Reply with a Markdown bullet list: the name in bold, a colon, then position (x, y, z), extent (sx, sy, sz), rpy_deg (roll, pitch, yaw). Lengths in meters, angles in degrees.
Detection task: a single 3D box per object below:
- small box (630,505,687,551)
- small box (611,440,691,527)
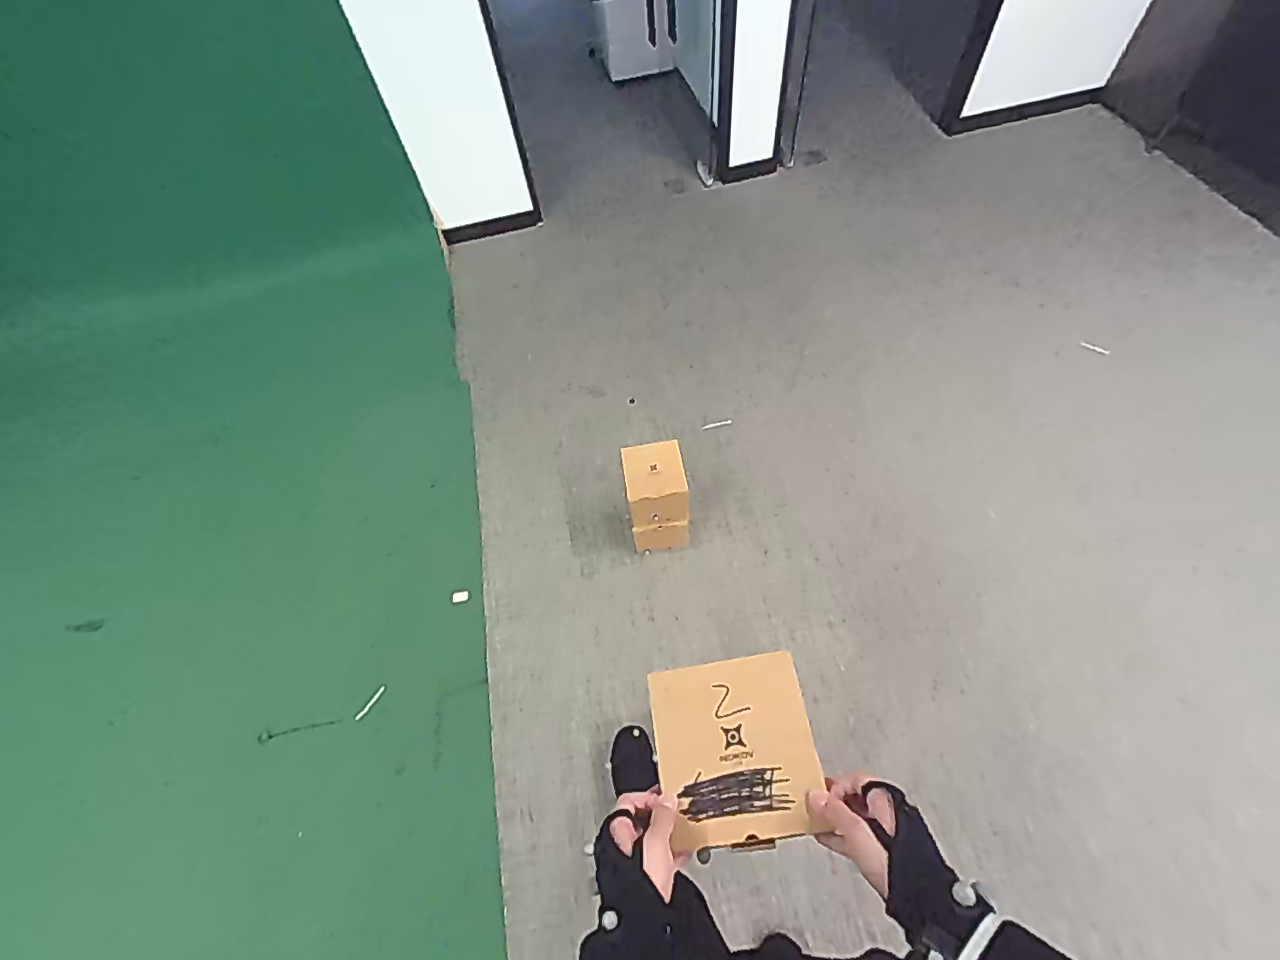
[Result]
- **small box**: position (0.054, 0.110, 1.679), extent (0.168, 0.176, 0.179), rpy_deg (-8, 57, 0)
- **small box**: position (0.038, 0.014, 1.558), extent (0.179, 0.176, 0.168), rpy_deg (18, 64, 16)
